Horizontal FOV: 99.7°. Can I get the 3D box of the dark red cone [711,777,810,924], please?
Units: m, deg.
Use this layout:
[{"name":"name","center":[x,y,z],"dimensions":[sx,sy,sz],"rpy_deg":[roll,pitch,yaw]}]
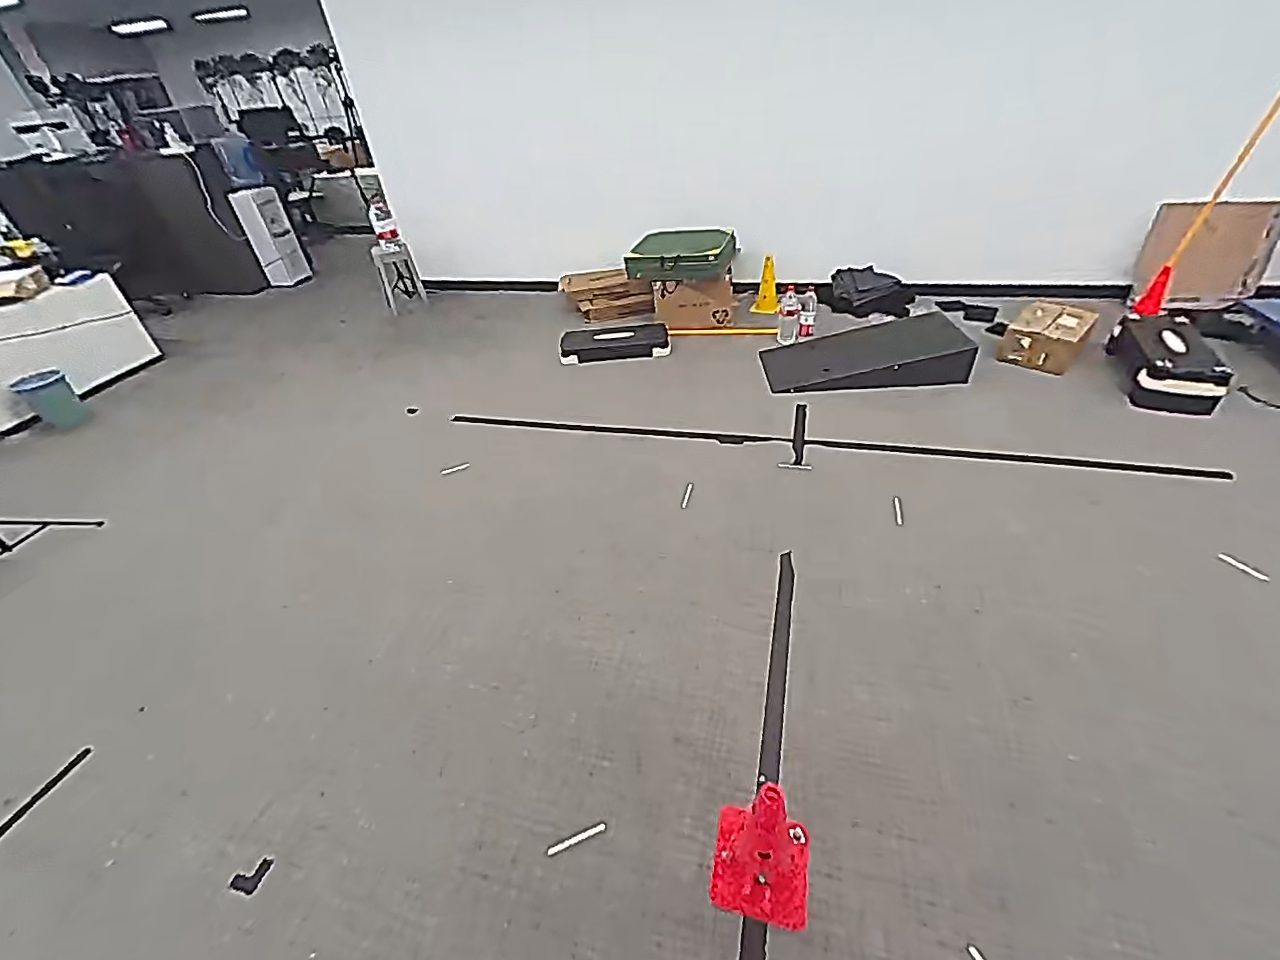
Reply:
[{"name":"dark red cone","center":[0.246,0.688,1.063],"dimensions":[0.201,0.394,0.202],"rpy_deg":[5,39,15]}]
